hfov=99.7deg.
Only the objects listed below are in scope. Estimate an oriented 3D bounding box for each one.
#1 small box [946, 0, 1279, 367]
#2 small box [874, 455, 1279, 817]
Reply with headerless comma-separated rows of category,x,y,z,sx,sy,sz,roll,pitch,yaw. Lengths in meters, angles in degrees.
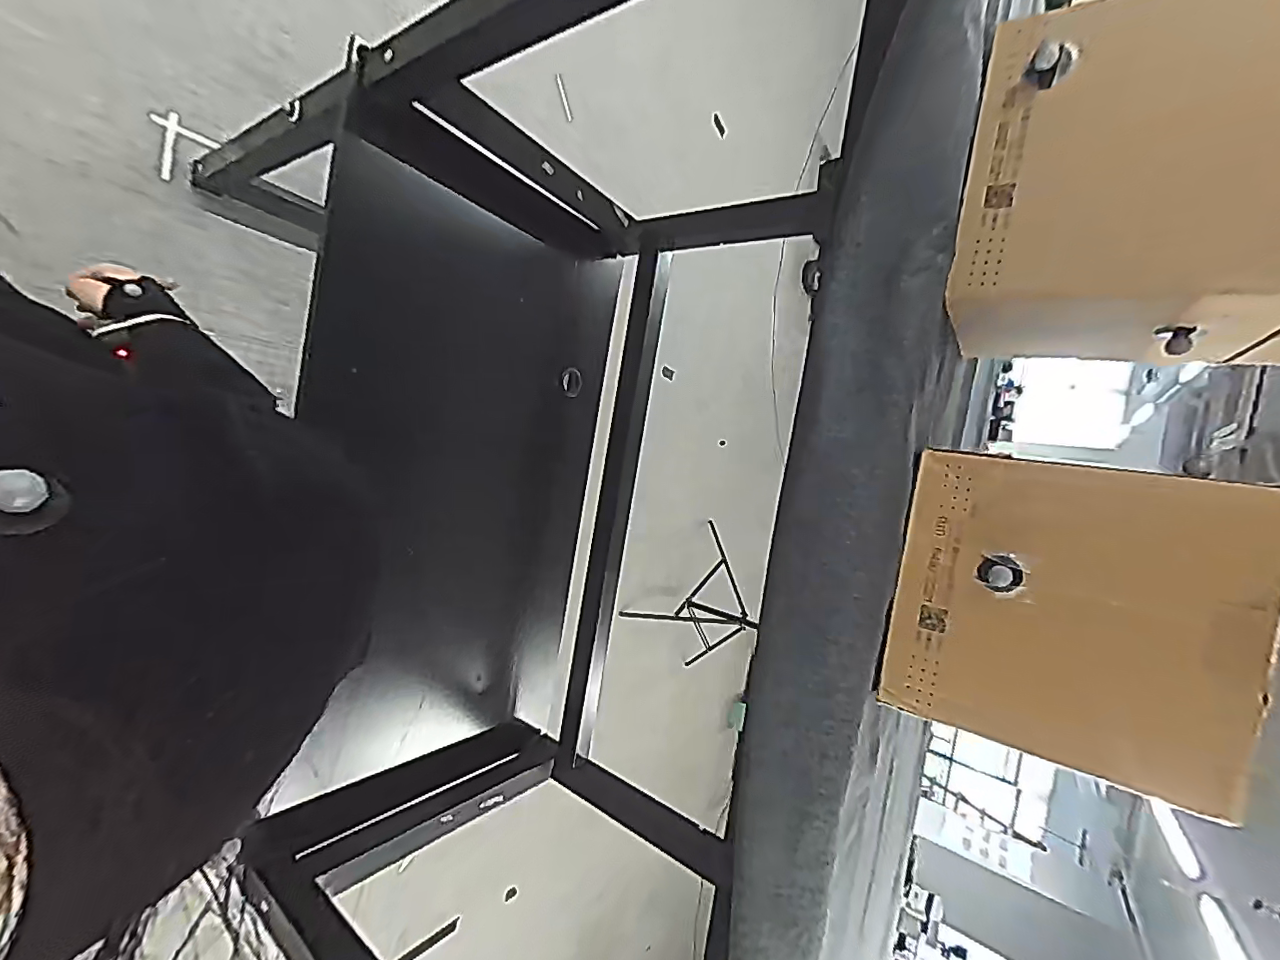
small box,0.314,-0.175,0.361,0.179,0.176,0.168,2,98,-57
small box,0.277,0.078,0.375,0.179,0.176,0.168,5,94,-56
